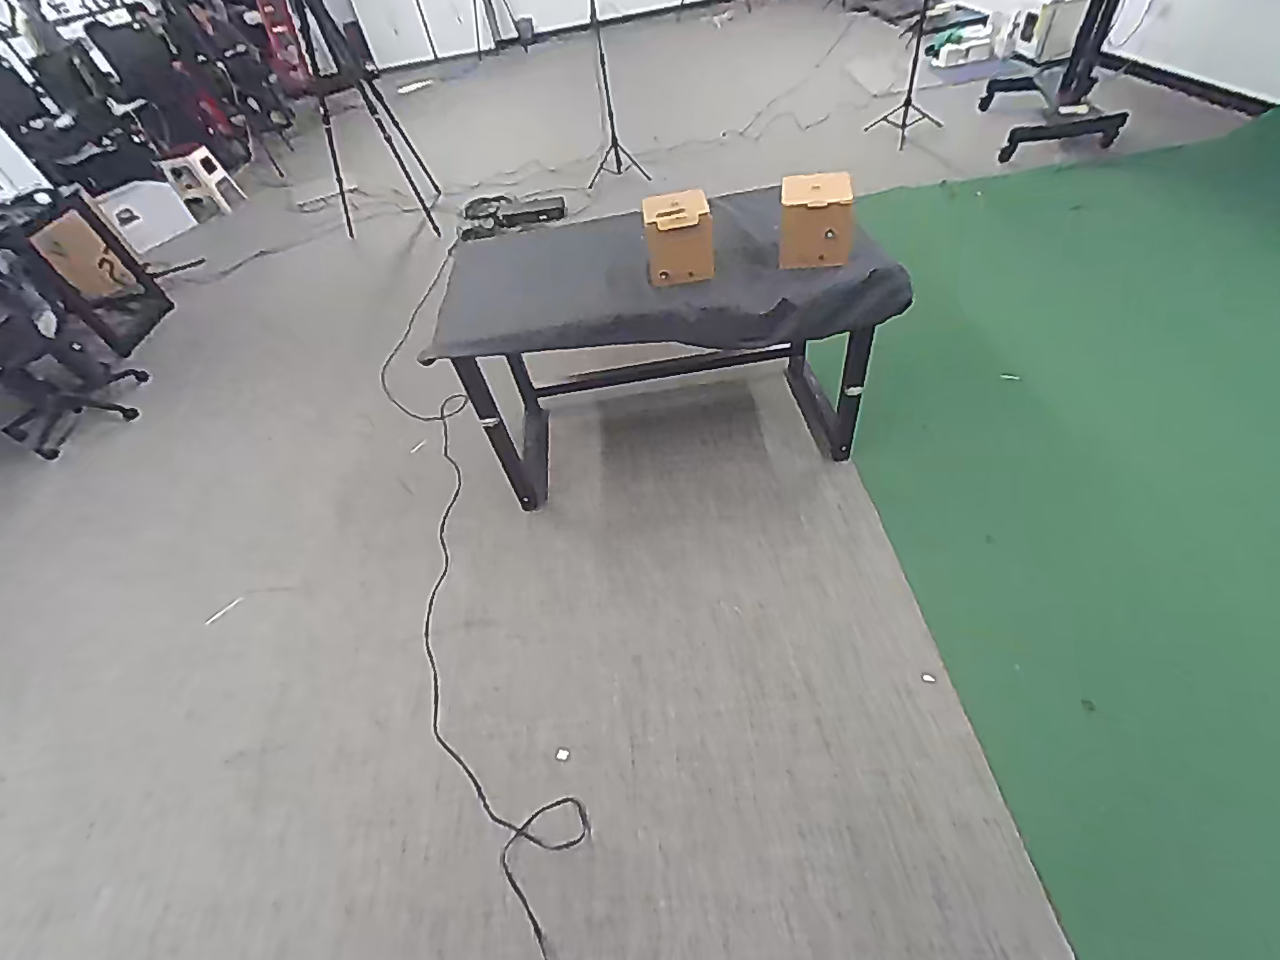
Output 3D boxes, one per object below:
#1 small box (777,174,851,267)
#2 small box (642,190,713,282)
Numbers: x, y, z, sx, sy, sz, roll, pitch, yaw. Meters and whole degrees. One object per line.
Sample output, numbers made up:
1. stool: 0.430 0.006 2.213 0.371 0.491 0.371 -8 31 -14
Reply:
1. small box: 0.445 -0.666 1.400 0.168 0.176 0.179 2 47 12
2. small box: 0.101 -0.644 1.444 0.168 0.176 0.179 -7 47 4
